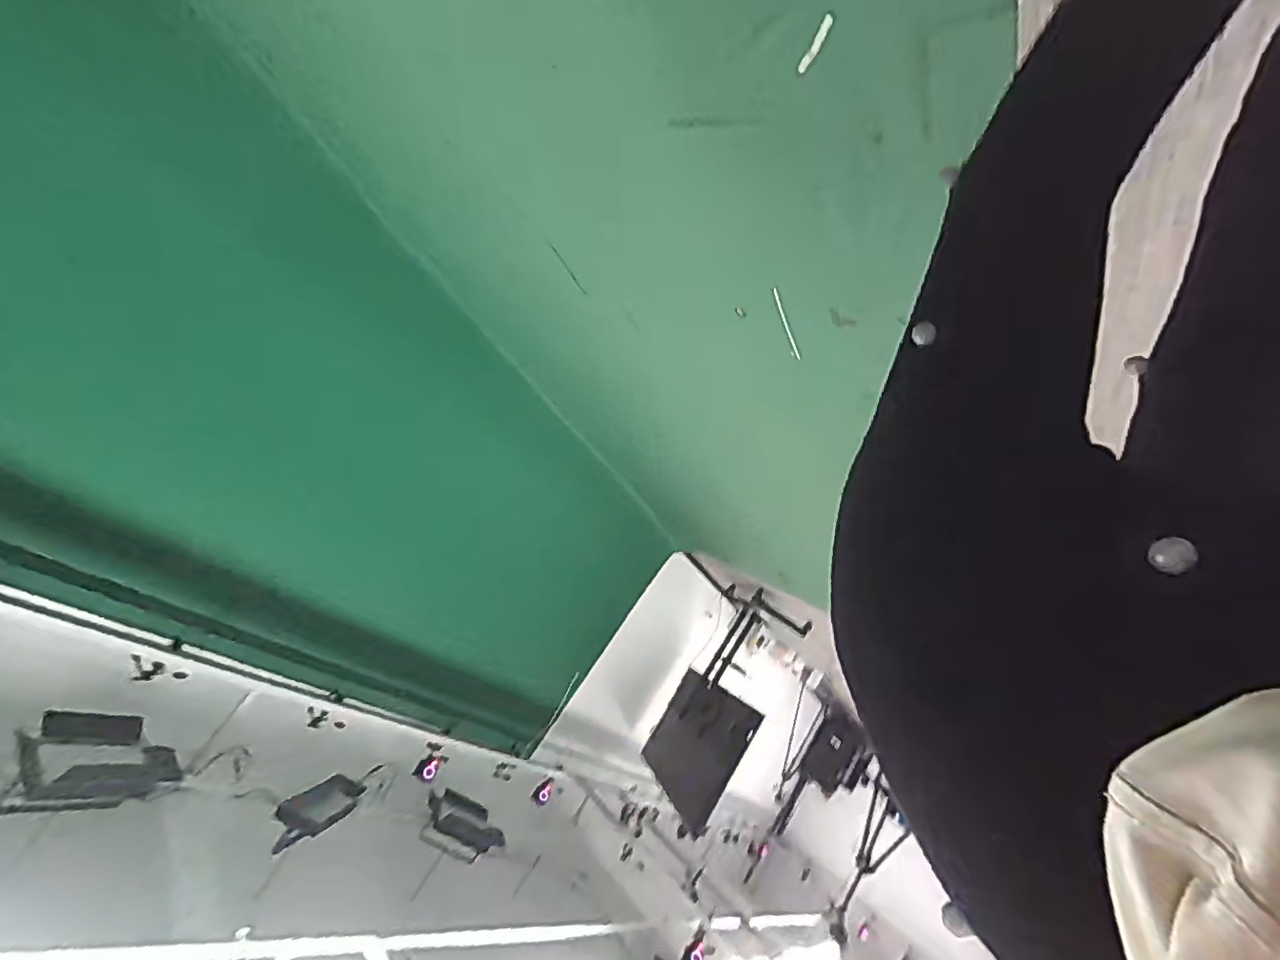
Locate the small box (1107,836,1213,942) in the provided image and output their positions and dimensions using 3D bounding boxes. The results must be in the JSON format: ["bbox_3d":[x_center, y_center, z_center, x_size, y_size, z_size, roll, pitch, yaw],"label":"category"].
[{"bbox_3d":[1.451,1.138,1.513,0.168,0.176,0.179,23,160,44],"label":"small box"}]

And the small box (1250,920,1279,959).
[{"bbox_3d":[1.641,1.221,1.321,0.168,0.176,0.179,23,160,45],"label":"small box"}]
